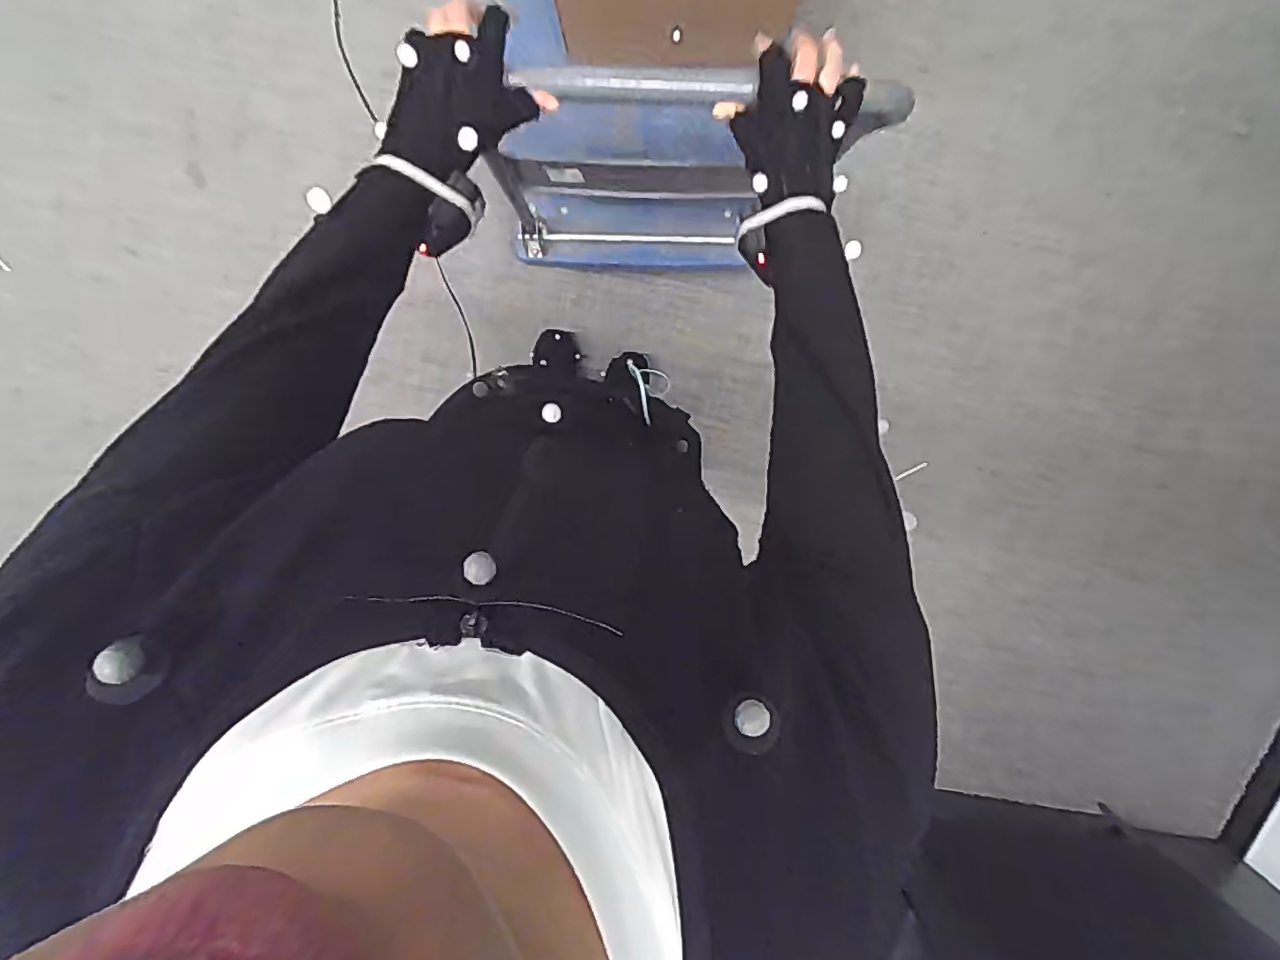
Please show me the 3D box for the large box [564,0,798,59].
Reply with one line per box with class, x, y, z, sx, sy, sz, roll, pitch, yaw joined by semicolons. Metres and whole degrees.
large box;0.067;-0.963;0.913;0.408;0.320;0.320;-1;105;-1
